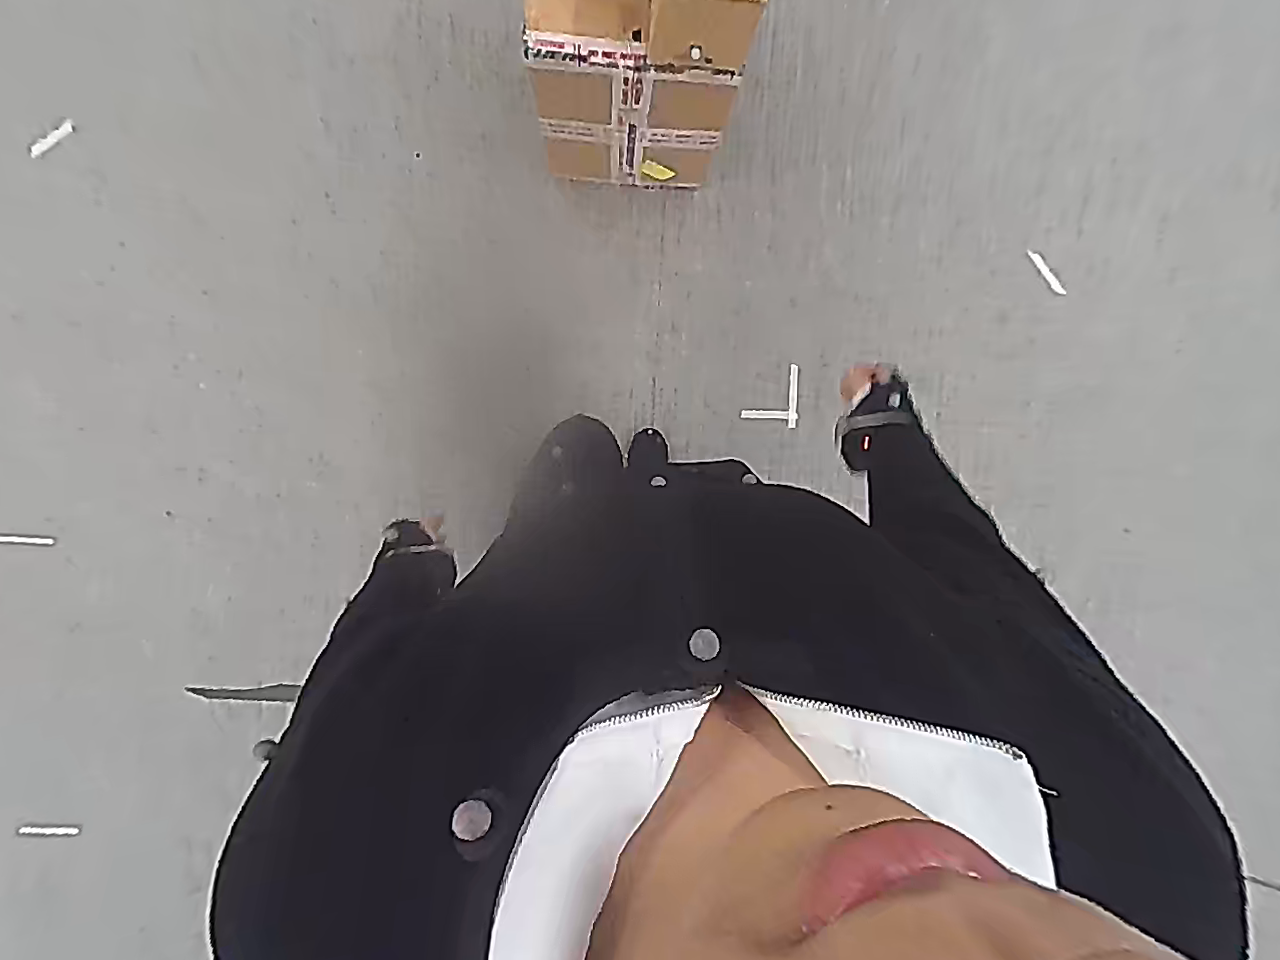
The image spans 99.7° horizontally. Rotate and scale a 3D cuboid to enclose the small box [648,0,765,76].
[{"bbox_3d":[0.104,-0.802,0.869,0.168,0.176,0.179,3,97,-5],"label":"small box"}]
